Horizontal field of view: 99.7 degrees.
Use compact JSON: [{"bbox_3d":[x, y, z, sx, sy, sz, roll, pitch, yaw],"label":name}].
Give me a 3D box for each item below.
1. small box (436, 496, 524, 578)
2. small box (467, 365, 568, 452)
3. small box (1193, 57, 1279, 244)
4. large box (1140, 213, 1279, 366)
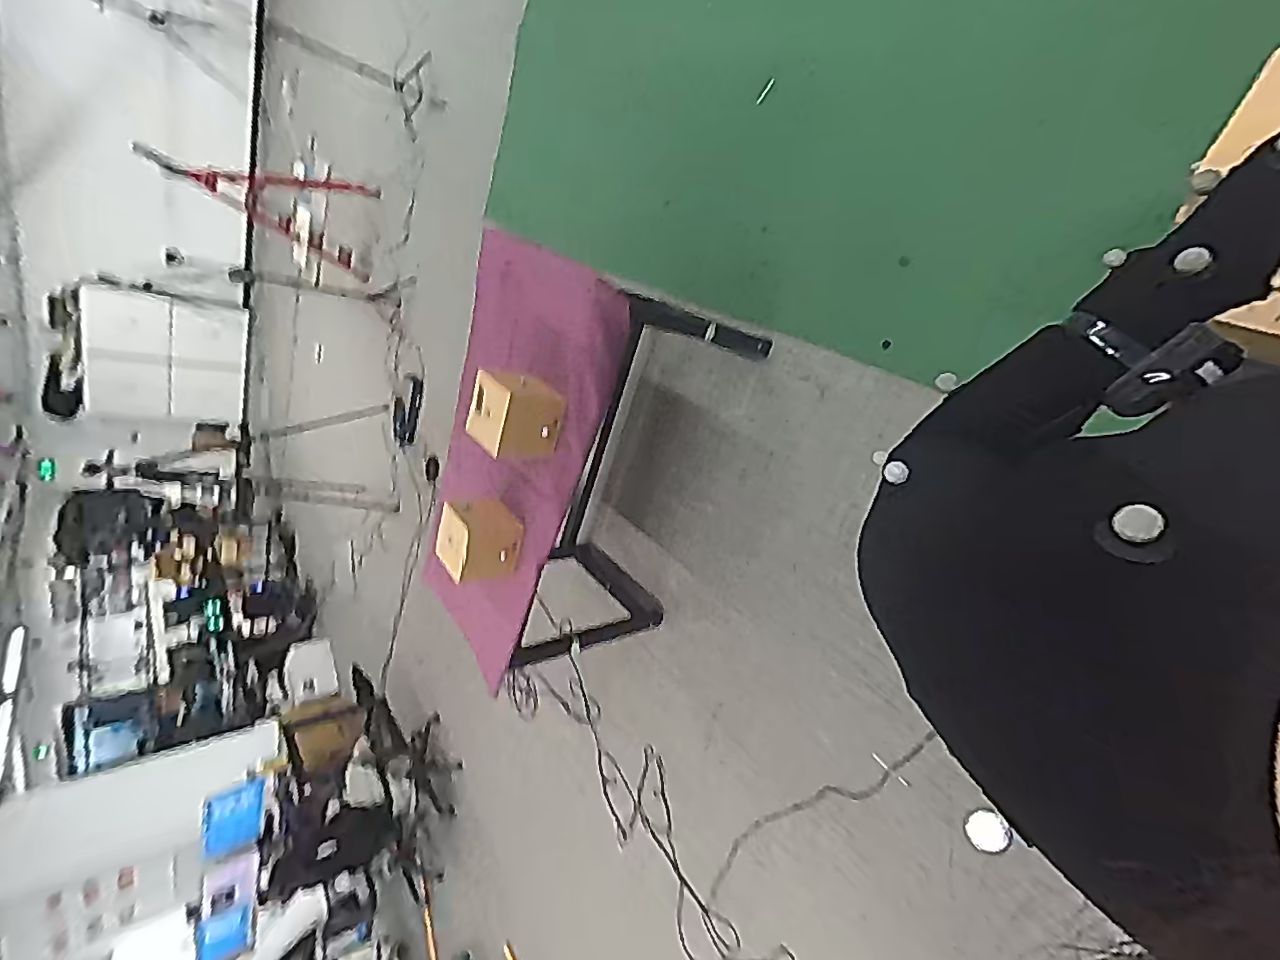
[{"bbox_3d":[-0.457,0.157,1.537,0.179,0.176,0.168,37,117,41],"label":"small box"},{"bbox_3d":[-0.313,-0.177,1.382,0.179,0.176,0.168,37,117,39],"label":"small box"},{"bbox_3d":[0.894,-0.437,0.722,0.168,0.176,0.179,39,117,38],"label":"small box"},{"bbox_3d":[1.117,-0.344,0.843,0.408,0.320,0.320,38,118,38],"label":"large box"}]
